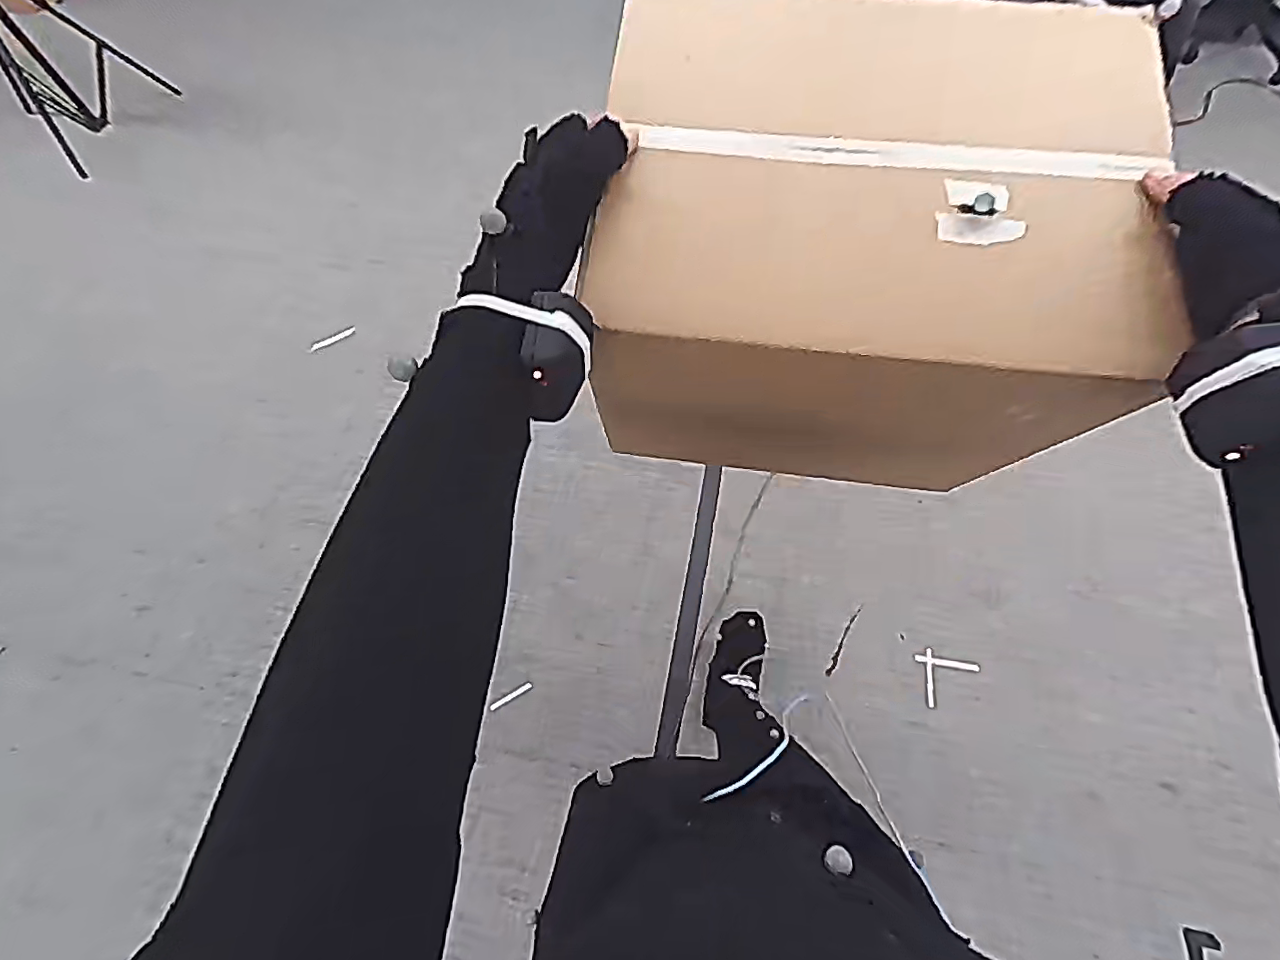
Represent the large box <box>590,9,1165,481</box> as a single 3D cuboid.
[{"bbox_3d":[0.180,-0.197,0.554,0.408,0.320,0.320,7,78,4],"label":"large box"}]
